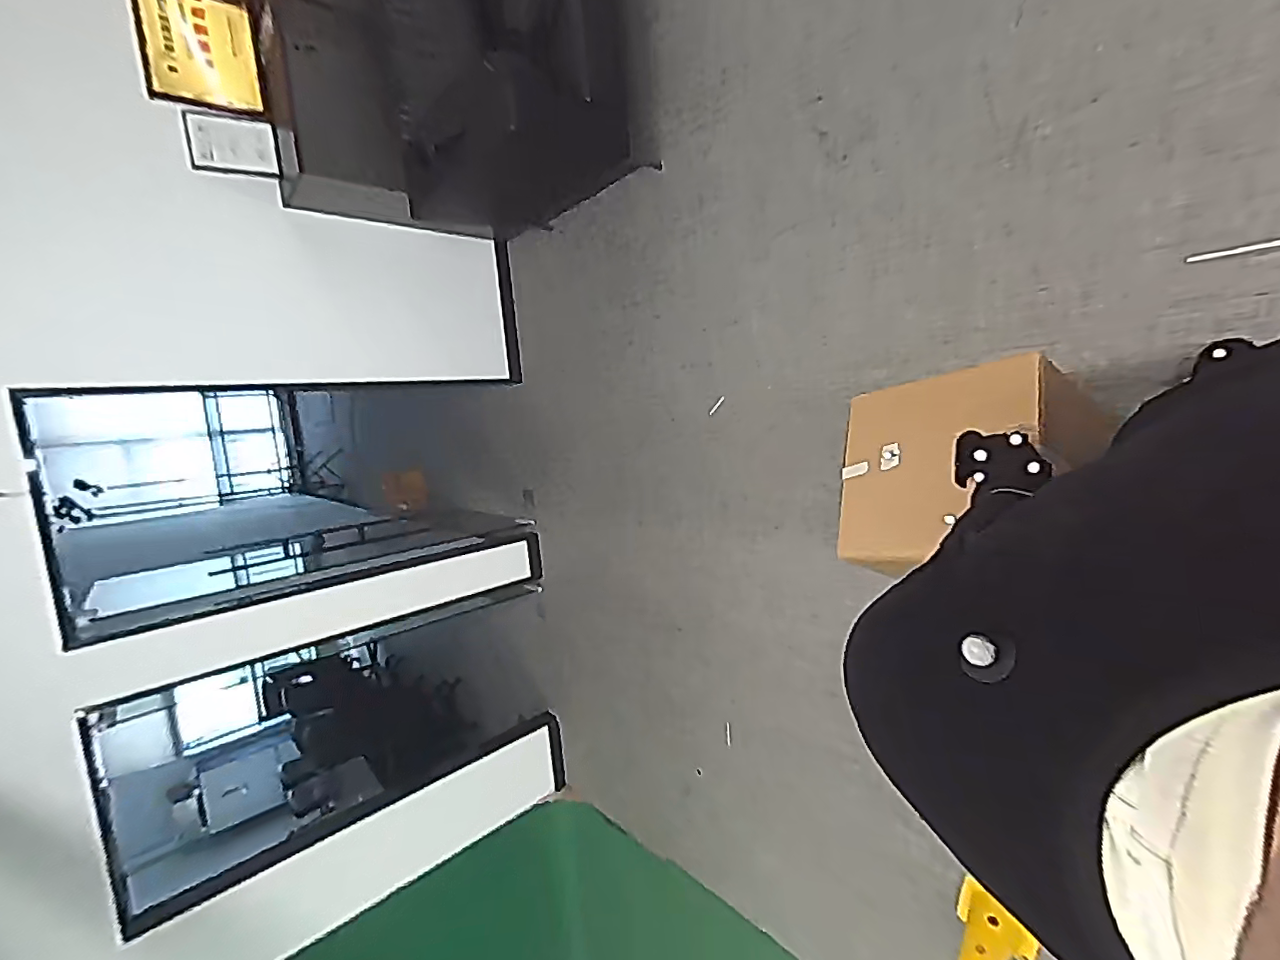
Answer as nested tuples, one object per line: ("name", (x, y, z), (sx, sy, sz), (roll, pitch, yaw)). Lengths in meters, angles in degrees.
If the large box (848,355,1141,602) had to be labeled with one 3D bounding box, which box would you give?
("large box", (0.628, 0.029, 0.973), (0.320, 0.408, 0.320), (-10, 66, 54))
